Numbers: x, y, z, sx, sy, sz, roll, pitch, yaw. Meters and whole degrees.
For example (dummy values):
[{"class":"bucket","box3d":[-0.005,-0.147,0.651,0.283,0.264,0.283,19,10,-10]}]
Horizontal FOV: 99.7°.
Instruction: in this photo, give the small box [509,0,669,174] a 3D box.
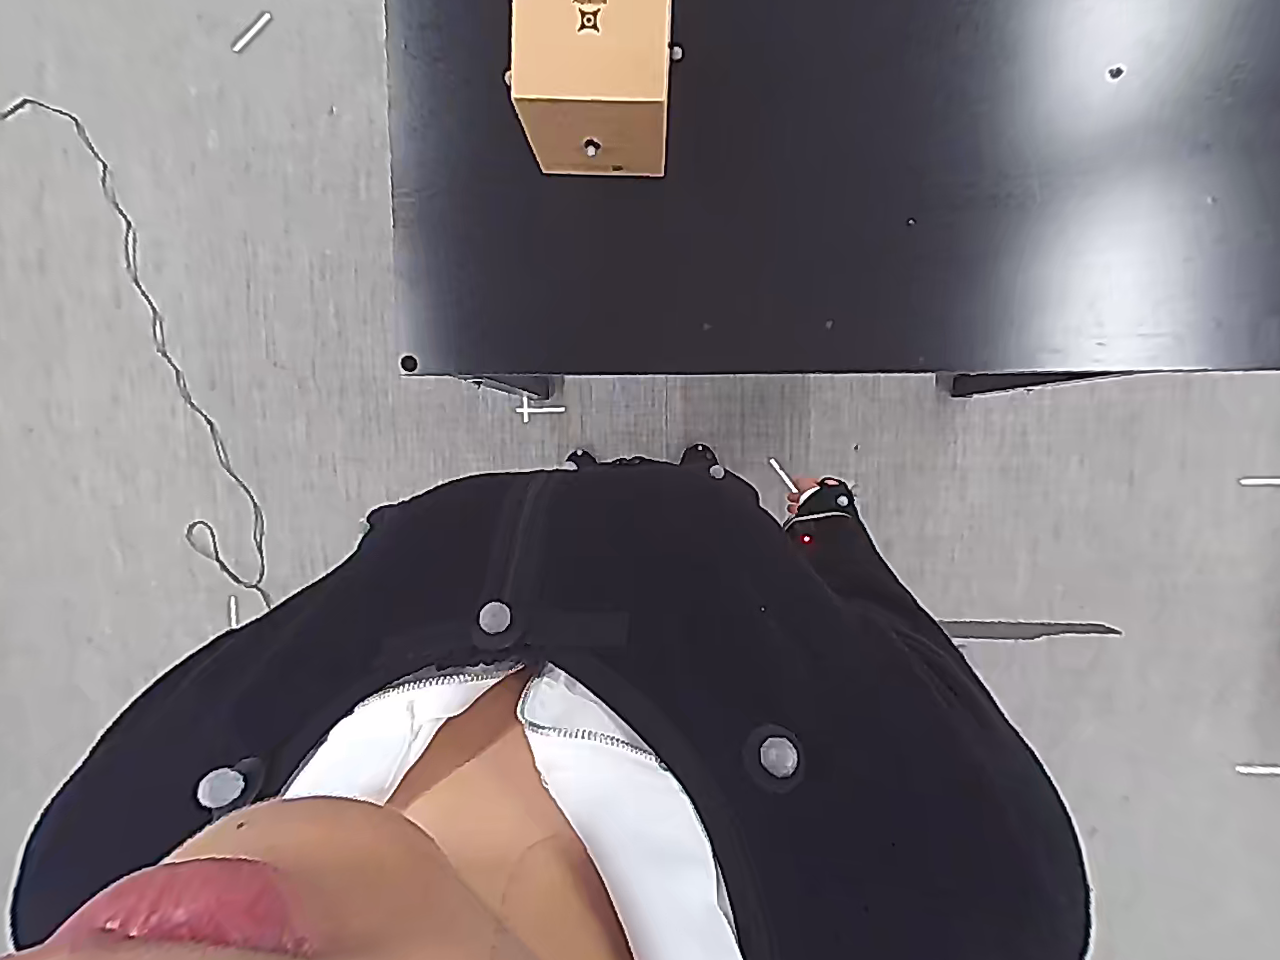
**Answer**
[{"class":"small box","box3d":[-0.052,-0.492,0.646,0.168,0.176,0.179,3,94,2]}]
